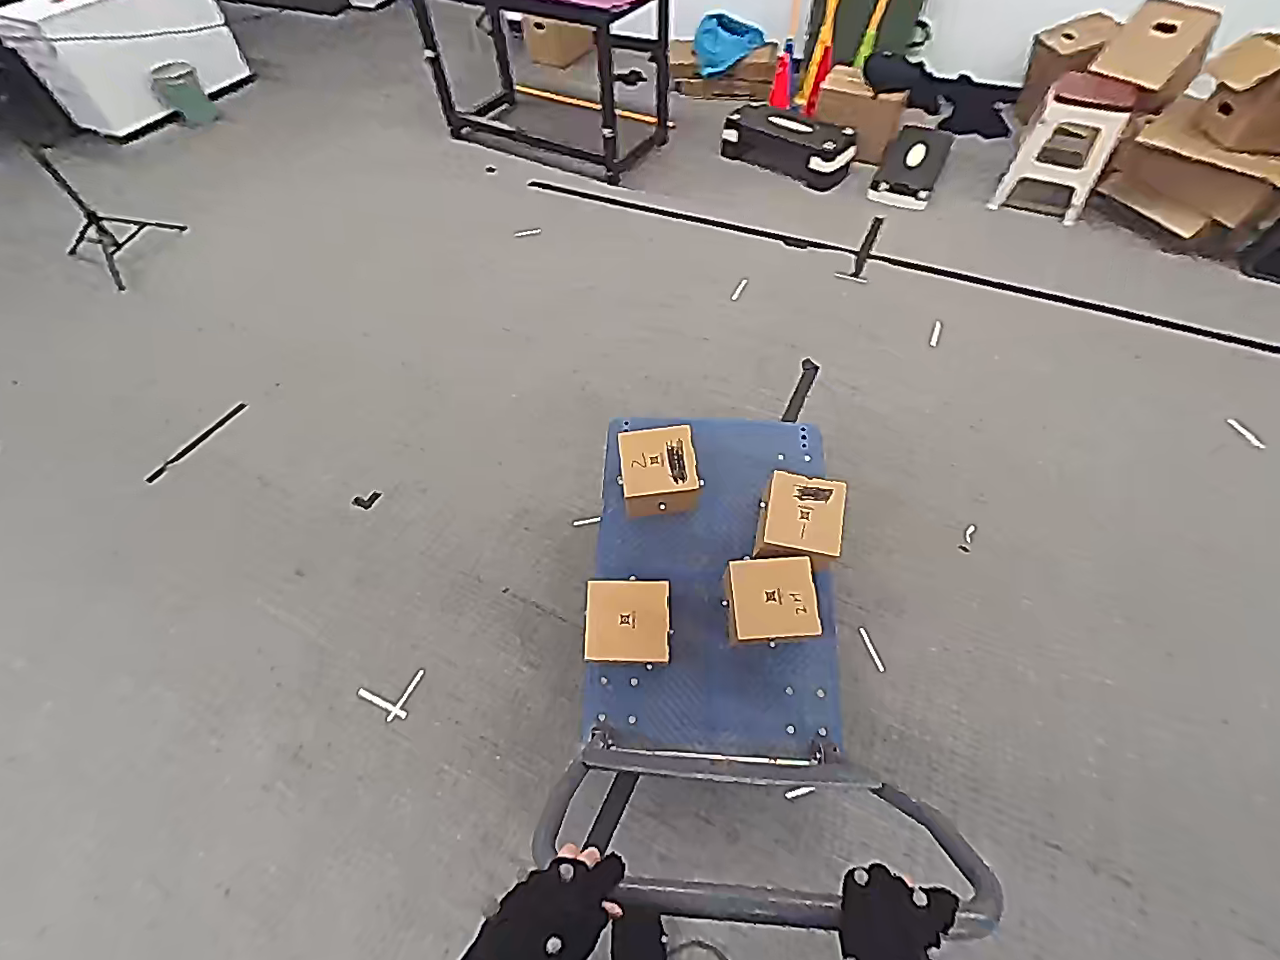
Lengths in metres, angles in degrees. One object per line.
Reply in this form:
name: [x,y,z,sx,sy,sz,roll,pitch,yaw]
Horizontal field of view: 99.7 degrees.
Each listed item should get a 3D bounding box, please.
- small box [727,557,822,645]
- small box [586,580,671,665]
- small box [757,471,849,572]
small box: [0.289,0.275,1.206,0.179,0.176,0.168,-4,69,2]
small box: [-0.020,0.321,1.206,0.179,0.176,0.168,0,69,2]
small box: [0.375,0.101,1.268,0.168,0.176,0.179,11,71,8]
